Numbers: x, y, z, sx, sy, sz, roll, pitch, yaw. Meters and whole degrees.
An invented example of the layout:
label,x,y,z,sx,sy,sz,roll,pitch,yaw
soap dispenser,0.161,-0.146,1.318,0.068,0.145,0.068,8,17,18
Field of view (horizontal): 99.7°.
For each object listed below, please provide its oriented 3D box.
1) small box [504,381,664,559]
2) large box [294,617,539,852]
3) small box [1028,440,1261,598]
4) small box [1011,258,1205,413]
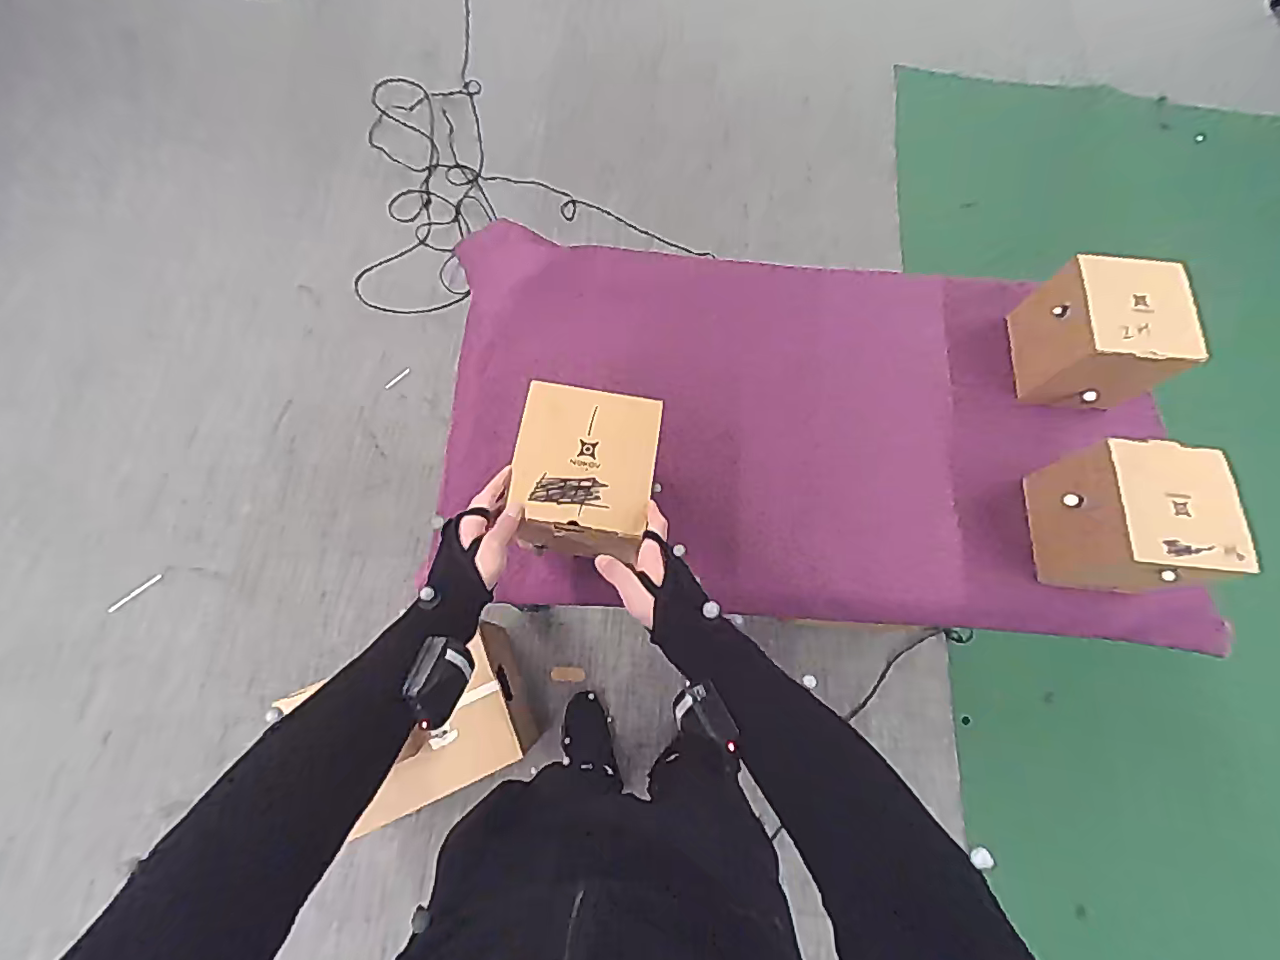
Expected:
label,x,y,z,sx,sy,sz,roll,pitch,yaw
small box,-0.067,-0.003,0.710,0.168,0.176,0.179,9,70,-2
large box,-0.485,0.558,1.249,0.408,0.320,0.320,-22,74,-12
small box,0.708,0.062,0.787,0.168,0.176,0.179,6,68,1
small box,0.749,-0.232,0.891,0.168,0.176,0.179,5,72,1
